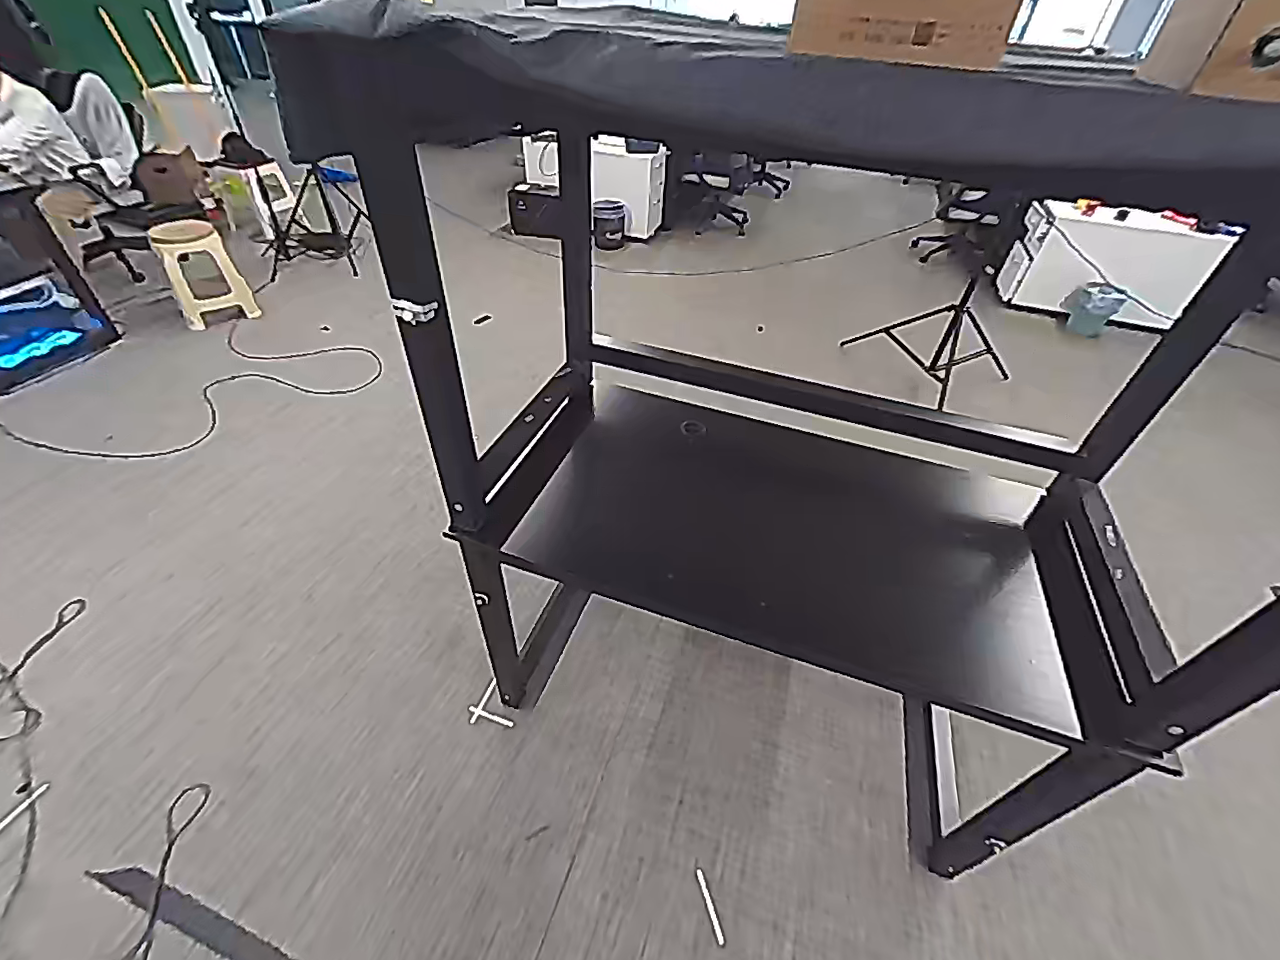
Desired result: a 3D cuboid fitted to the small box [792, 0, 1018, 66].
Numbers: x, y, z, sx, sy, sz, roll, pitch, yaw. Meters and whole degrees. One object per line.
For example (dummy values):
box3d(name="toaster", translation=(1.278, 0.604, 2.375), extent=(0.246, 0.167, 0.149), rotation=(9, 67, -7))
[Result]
box3d(name="small box", translation=(0.234, -0.457, 0.445), extent=(0.168, 0.176, 0.179), rotation=(16, 41, 13))

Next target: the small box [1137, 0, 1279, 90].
box3d(name="small box", translation=(0.517, -0.381, 0.386), extent=(0.168, 0.176, 0.179), rotation=(18, 42, 15))
